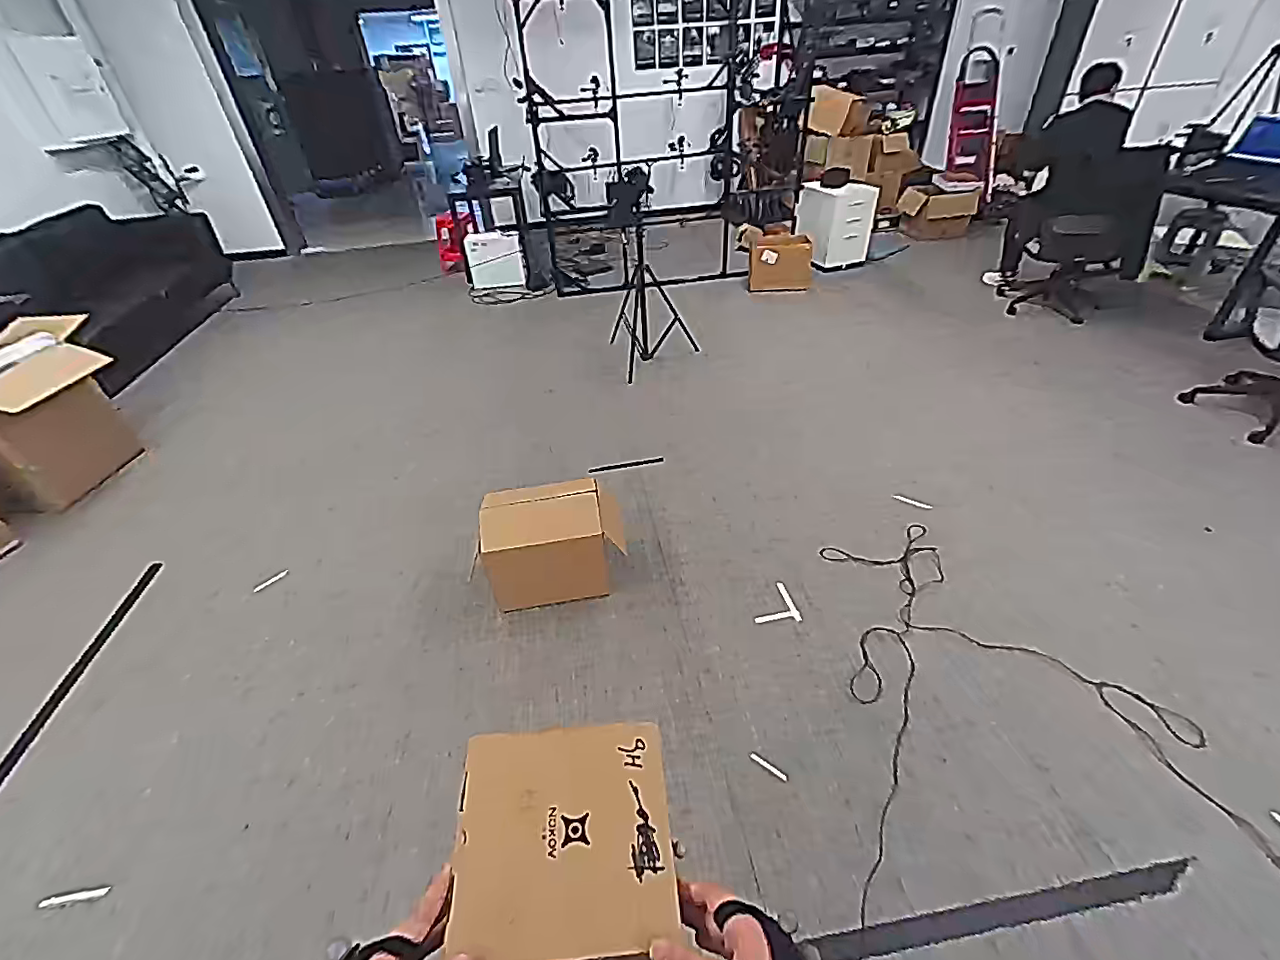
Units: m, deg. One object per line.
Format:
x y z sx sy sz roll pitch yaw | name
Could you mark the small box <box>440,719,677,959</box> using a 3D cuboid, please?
-0.066 0.345 0.503 0.179 0.176 0.168 -3 44 -5 | small box
